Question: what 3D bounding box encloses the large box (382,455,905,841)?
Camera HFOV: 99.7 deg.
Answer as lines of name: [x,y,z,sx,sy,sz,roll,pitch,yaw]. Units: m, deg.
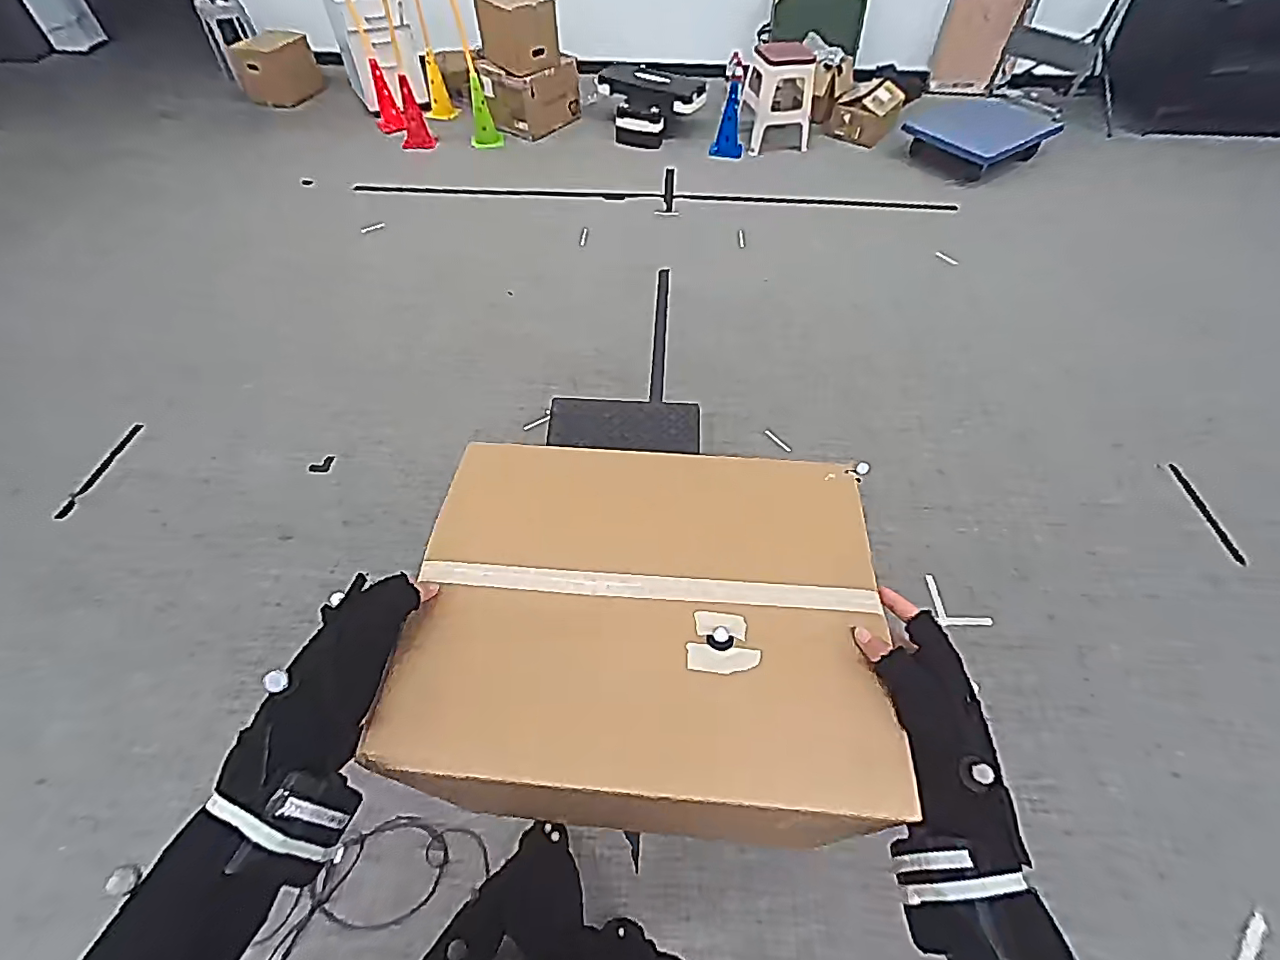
large box: [0.009,0.194,0.610,0.408,0.320,0.320,4,53,4]
